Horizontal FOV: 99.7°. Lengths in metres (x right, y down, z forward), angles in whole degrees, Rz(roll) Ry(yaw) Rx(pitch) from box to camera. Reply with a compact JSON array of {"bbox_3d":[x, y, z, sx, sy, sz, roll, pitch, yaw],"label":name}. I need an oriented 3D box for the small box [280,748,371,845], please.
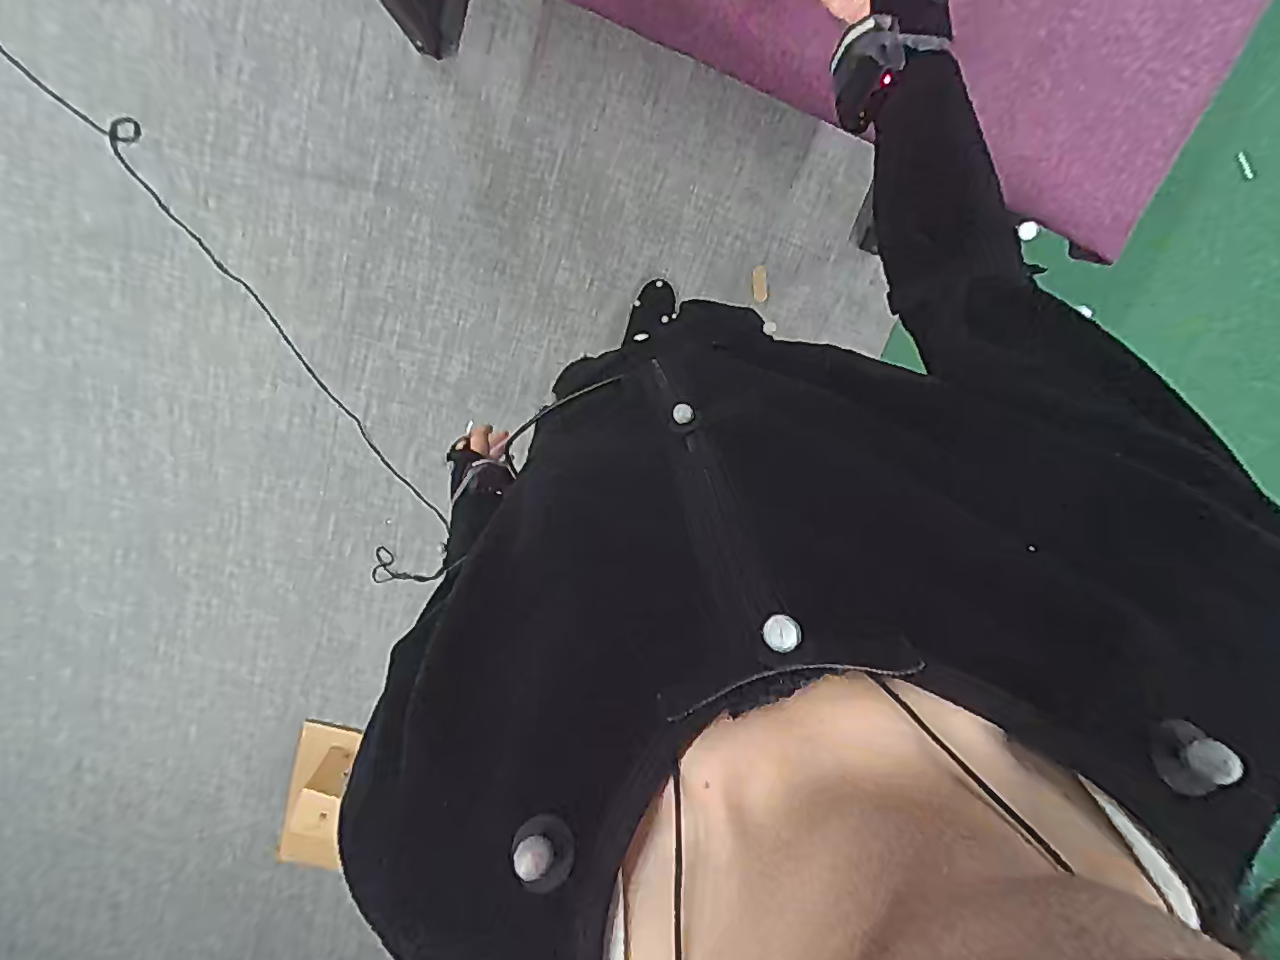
[{"bbox_3d":[-0.964,0.972,1.675,0.168,0.176,0.179,25,105,-9],"label":"small box"}]
